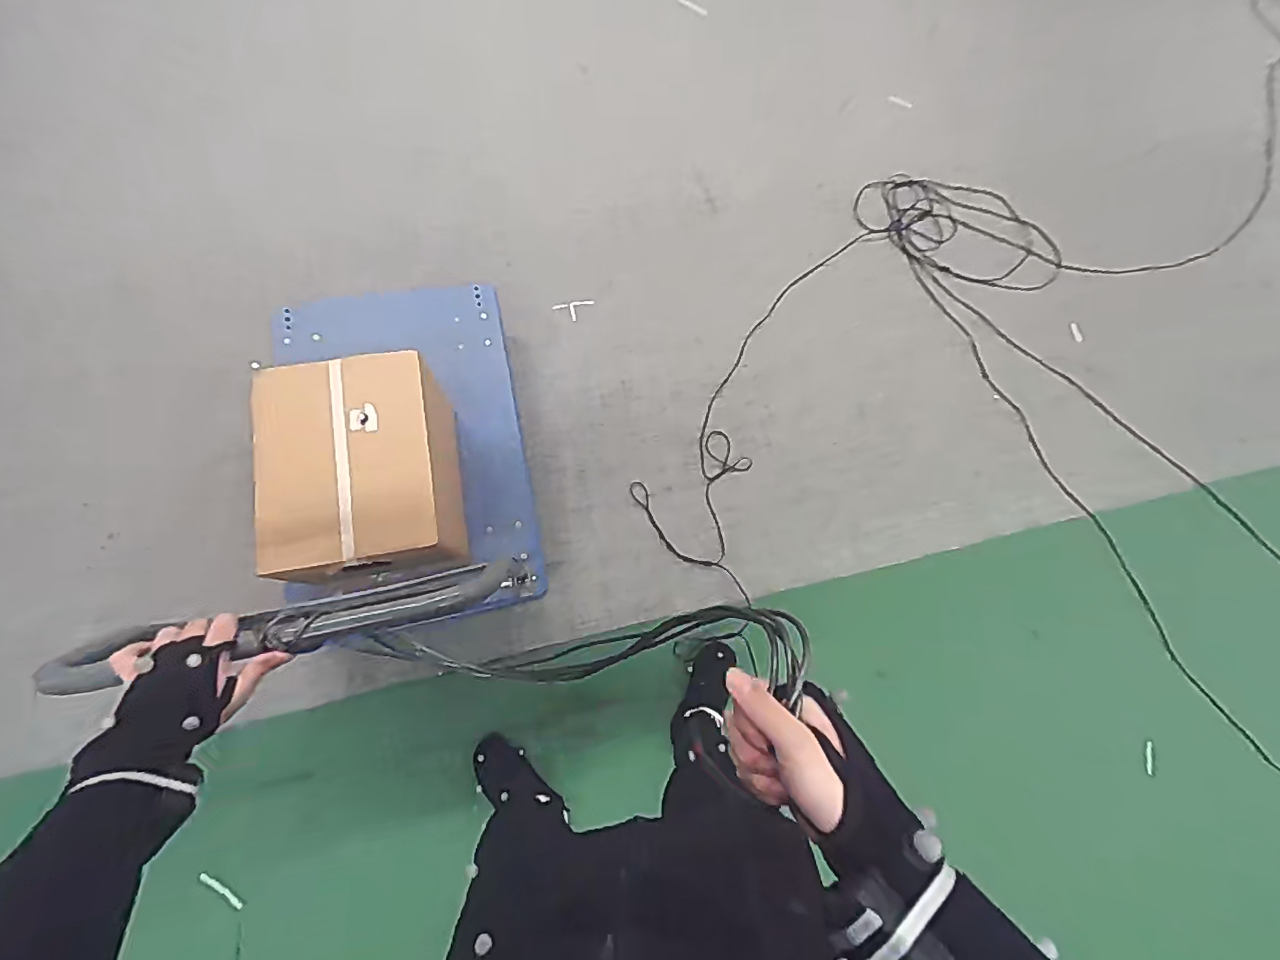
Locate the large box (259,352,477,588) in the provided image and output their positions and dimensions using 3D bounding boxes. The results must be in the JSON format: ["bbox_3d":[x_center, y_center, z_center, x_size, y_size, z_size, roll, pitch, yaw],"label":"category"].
[{"bbox_3d":[-0.563,-0.005,1.169,0.320,0.320,0.408,-10,76,-9],"label":"large box"}]
